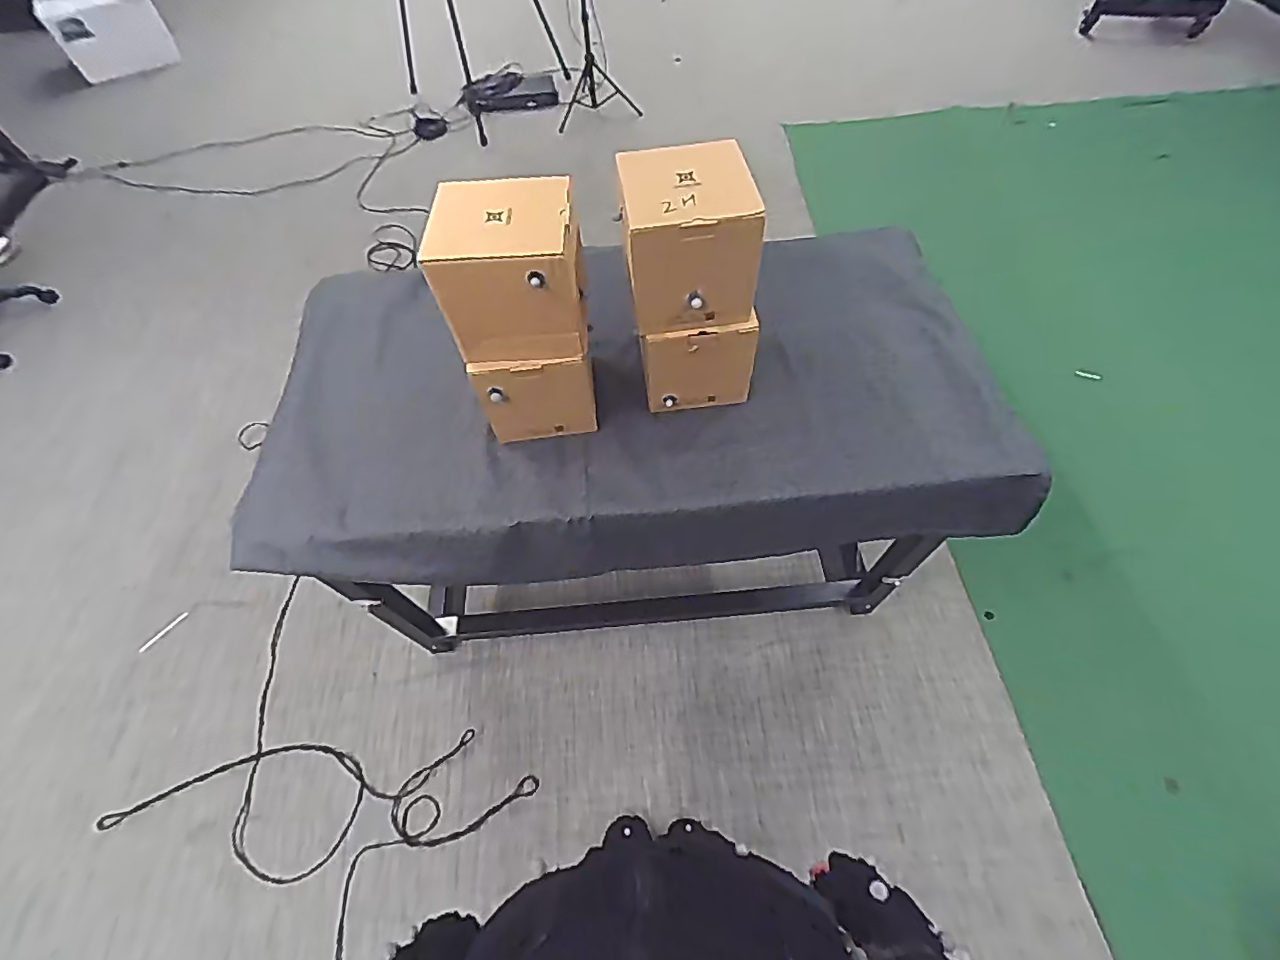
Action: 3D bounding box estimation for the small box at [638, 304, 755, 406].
[{"bbox_3d":[0.083,-0.235,0.883,0.168,0.176,0.179,-7,58,-1],"label":"small box"}]

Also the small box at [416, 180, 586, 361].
[{"bbox_3d":[-0.173,-0.277,0.734,0.179,0.176,0.168,-2,58,1],"label":"small box"}]

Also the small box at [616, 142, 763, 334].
[{"bbox_3d":[0.060,-0.331,0.751,0.168,0.176,0.179,-8,59,-1],"label":"small box"}]
